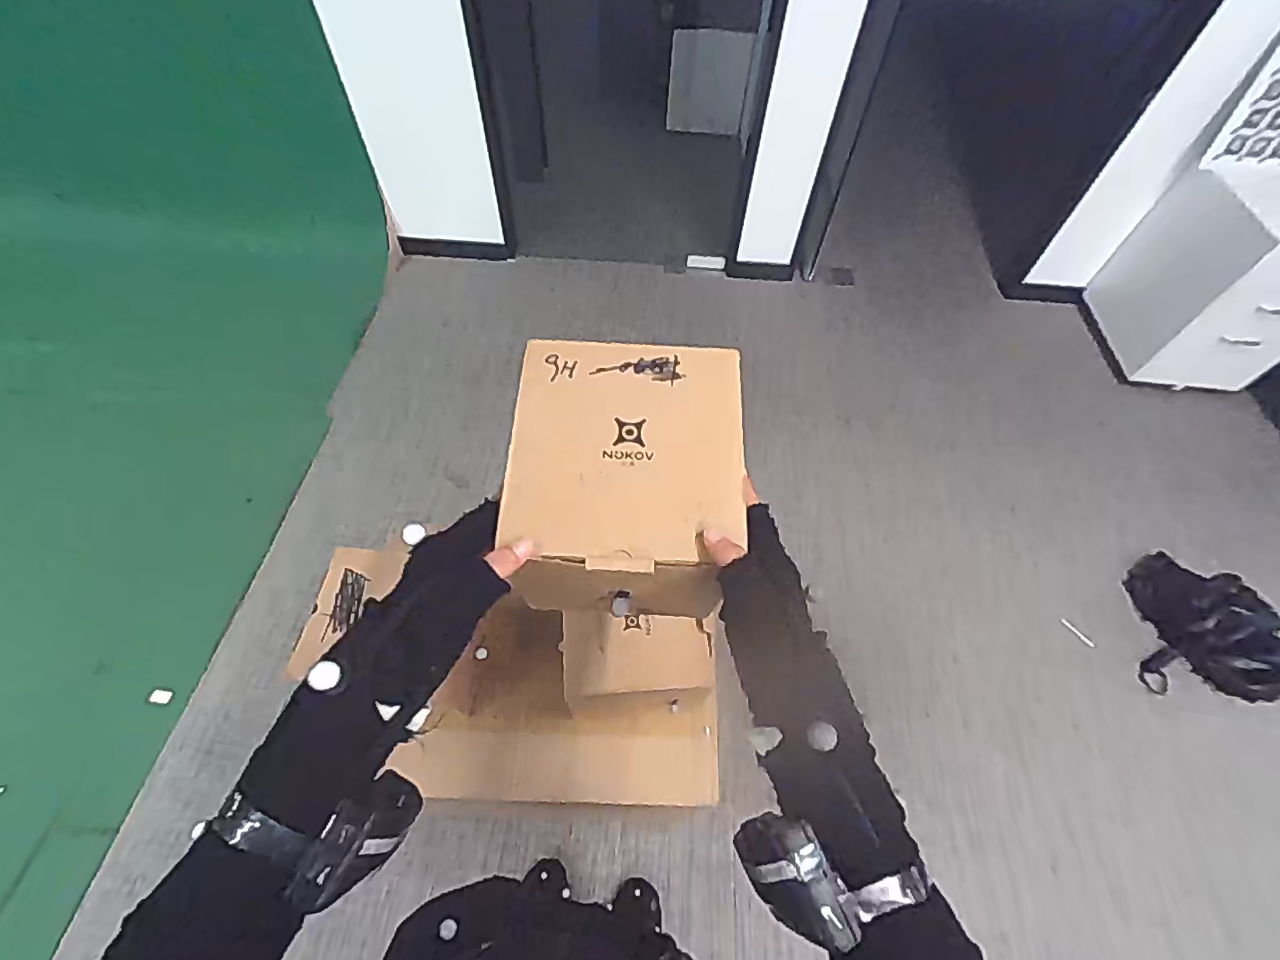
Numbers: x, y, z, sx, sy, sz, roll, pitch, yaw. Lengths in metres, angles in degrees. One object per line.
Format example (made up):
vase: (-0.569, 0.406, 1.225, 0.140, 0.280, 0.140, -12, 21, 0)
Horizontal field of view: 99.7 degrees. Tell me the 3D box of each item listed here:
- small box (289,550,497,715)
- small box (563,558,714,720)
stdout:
small box: (-0.308, 0.208, 0.720, 0.179, 0.176, 0.168, 6, 59, 1)
small box: (-0.009, 0.217, 0.726, 0.179, 0.176, 0.168, -4, 57, -3)
